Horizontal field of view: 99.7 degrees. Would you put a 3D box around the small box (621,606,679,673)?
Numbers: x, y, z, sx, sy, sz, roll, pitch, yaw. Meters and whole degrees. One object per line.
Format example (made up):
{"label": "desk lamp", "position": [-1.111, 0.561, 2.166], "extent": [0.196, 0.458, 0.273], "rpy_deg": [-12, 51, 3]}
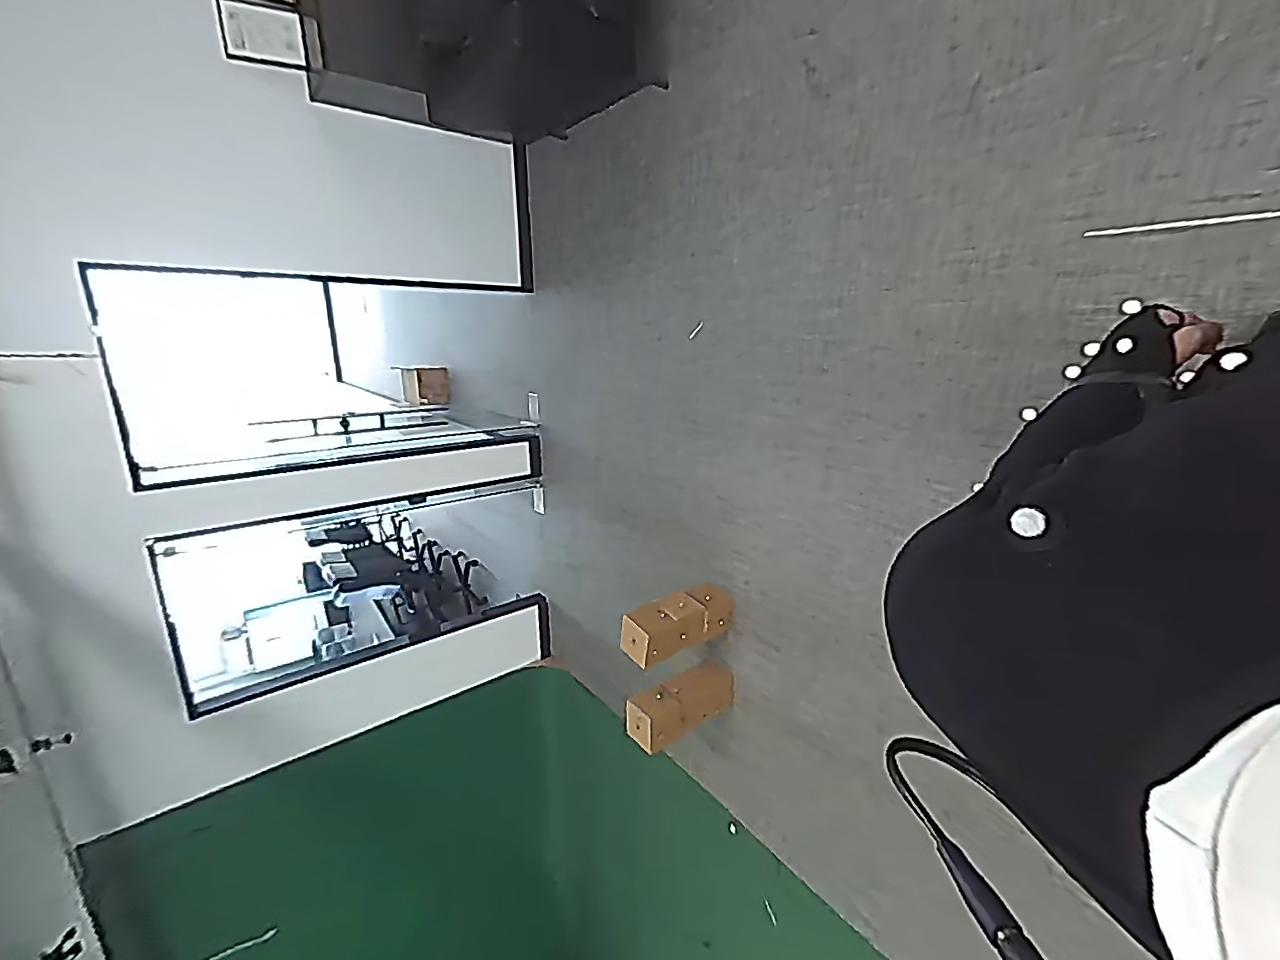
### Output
{"label": "small box", "position": [0.041, 0.652, 2.225], "extent": [0.168, 0.176, 0.179], "rpy_deg": [31, 123, 44]}

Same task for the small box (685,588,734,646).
{"label": "small box", "position": [0.296, 0.608, 2.422], "extent": [0.179, 0.176, 0.168], "rpy_deg": [28, 119, 45]}

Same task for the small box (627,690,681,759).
{"label": "small box", "position": [0.059, 1.031, 2.290], "extent": [0.168, 0.176, 0.179], "rpy_deg": [17, 112, 50]}

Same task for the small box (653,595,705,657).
{"label": "small box", "position": [0.163, 0.621, 2.328], "extent": [0.168, 0.176, 0.179], "rpy_deg": [27, 120, 47]}

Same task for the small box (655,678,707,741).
{"label": "small box", "position": [0.182, 1.010, 2.398], "extent": [0.179, 0.176, 0.168], "rpy_deg": [16, 111, 52]}
